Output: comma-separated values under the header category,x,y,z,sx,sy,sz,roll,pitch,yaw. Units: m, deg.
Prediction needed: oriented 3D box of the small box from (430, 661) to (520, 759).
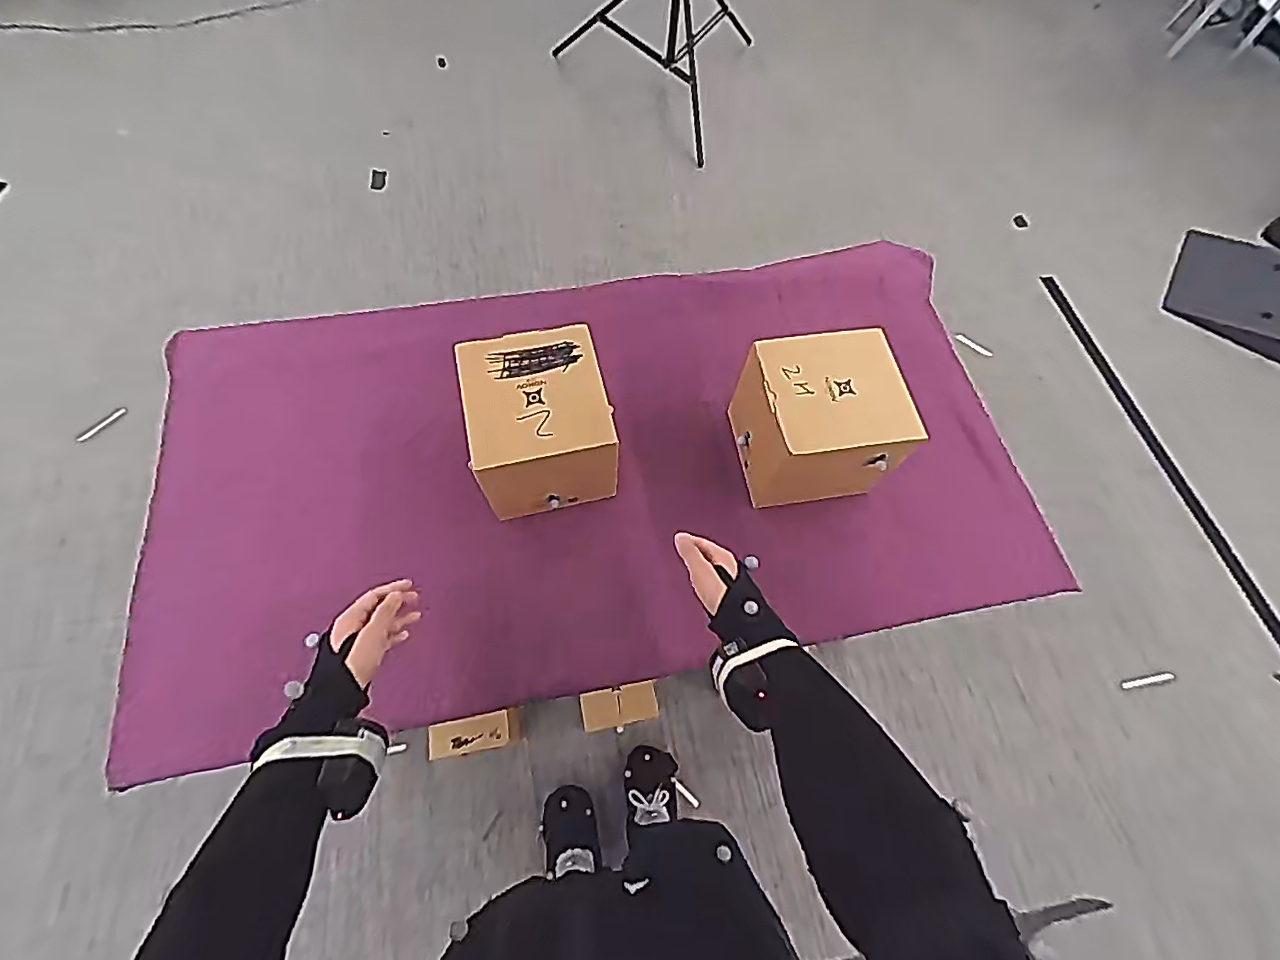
category,x,y,z,sx,sy,sz,roll,pitch,yaw
small box,-0.369,0.523,1.226,0.168,0.176,0.179,-7,65,-7

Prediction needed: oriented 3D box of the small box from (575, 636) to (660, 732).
category,x,y,z,sx,sy,sz,roll,pitch,yaw
small box,-0.057,0.479,1.262,0.168,0.176,0.179,-10,68,-7

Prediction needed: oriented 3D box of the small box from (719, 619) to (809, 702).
category,x,y,z,sx,sy,sz,roll,pitch,yaw
small box,0.294,0.437,1.302,0.179,0.176,0.168,6,66,0

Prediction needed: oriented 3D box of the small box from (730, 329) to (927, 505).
category,x,y,z,sx,sy,sz,roll,pitch,yaw
small box,0.237,-0.079,0.727,0.179,0.176,0.168,-8,66,-6
